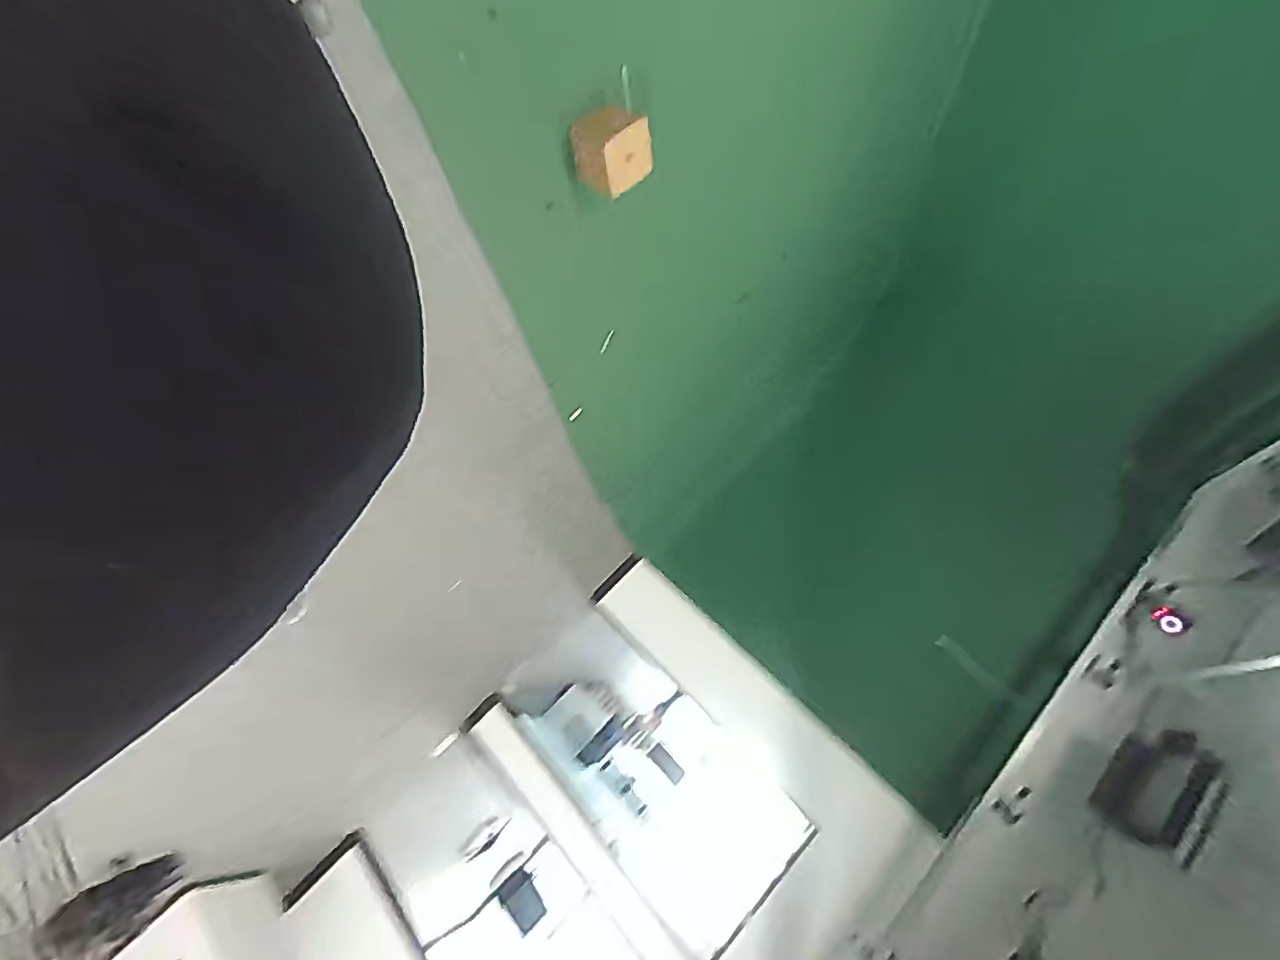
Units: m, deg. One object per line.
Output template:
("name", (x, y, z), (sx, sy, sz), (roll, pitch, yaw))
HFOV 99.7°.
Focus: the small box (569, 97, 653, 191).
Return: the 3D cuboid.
("small box", (-0.085, -1.021, 1.635), (0.179, 0.176, 0.168), (-42, 153, -17))
